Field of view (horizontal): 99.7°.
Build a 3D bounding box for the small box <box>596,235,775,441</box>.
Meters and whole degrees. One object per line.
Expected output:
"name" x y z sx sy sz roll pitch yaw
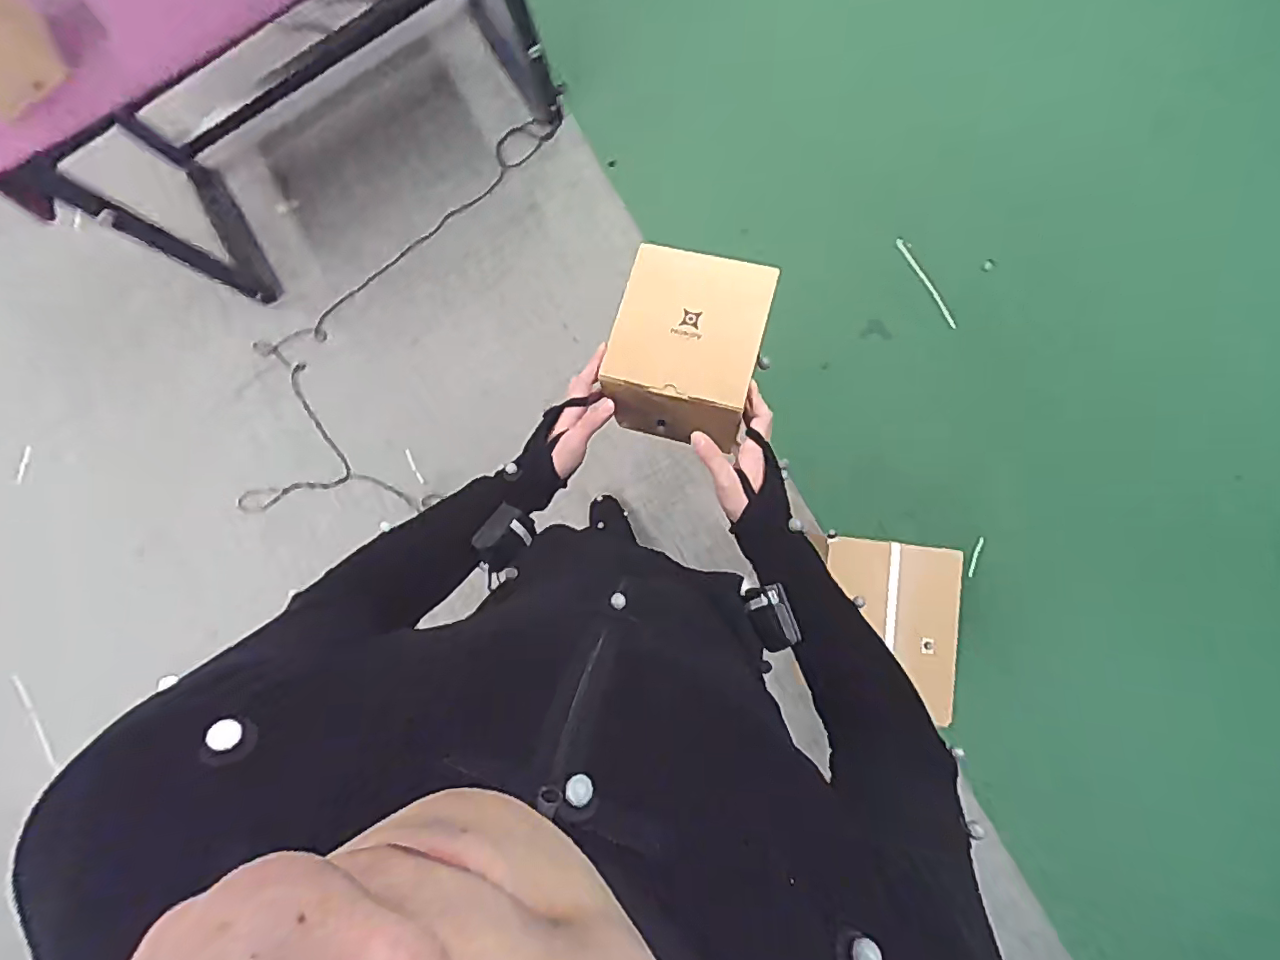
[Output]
"small box" 0.057 -0.167 0.678 0.168 0.176 0.179 14 81 8
